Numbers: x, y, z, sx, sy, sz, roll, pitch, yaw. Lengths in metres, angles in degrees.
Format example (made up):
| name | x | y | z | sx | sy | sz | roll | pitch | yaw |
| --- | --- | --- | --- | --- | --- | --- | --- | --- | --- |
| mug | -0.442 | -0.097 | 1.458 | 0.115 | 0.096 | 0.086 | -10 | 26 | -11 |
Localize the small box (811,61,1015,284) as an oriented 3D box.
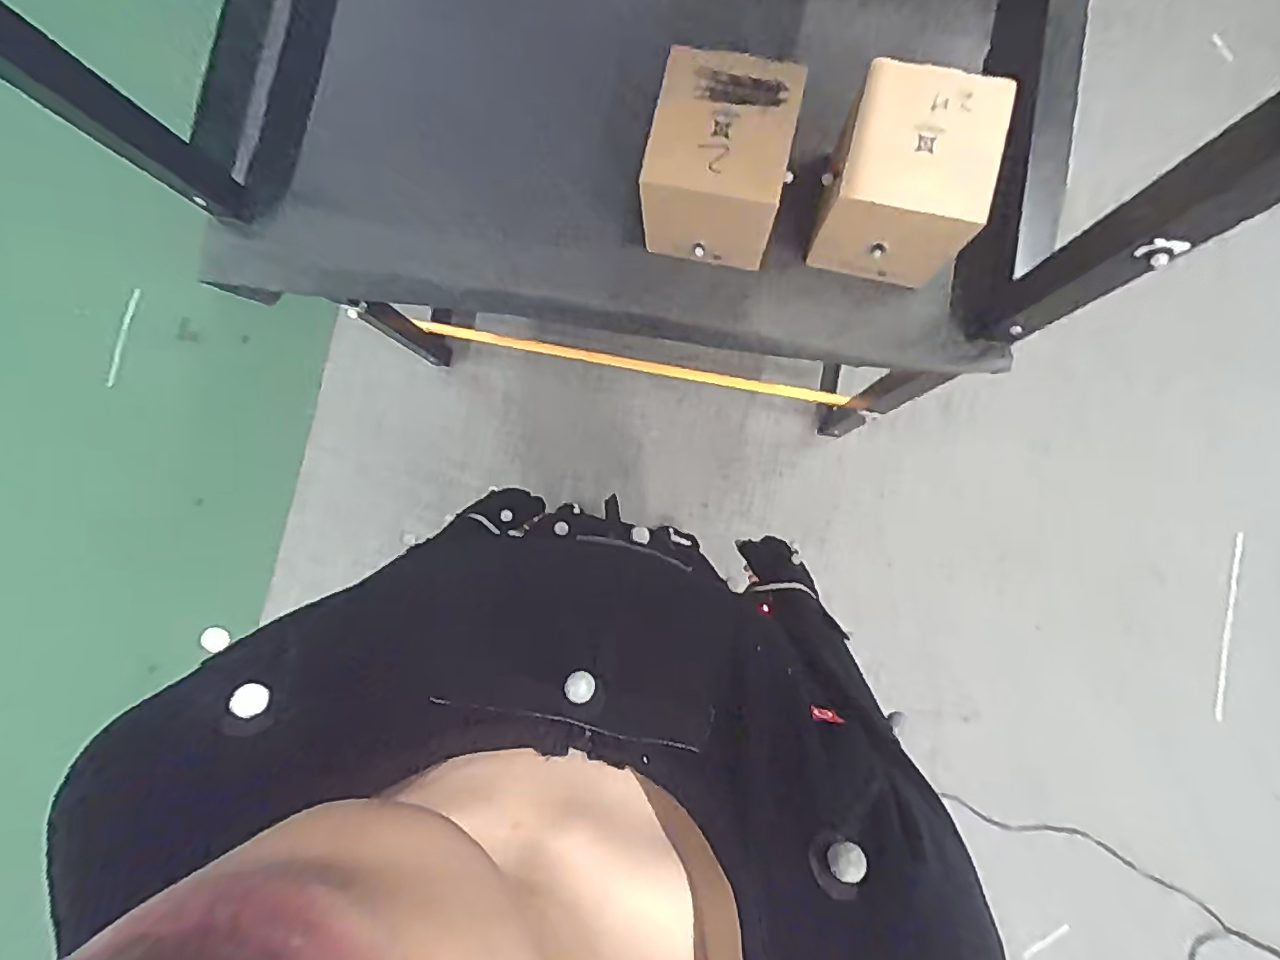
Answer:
| name | x | y | z | sx | sy | sz | roll | pitch | yaw |
| --- | --- | --- | --- | --- | --- | --- | --- | --- | --- |
| small box | 0.332 | -0.377 | 0.694 | 0.168 | 0.176 | 0.179 | 14 | 86 | 5 |
